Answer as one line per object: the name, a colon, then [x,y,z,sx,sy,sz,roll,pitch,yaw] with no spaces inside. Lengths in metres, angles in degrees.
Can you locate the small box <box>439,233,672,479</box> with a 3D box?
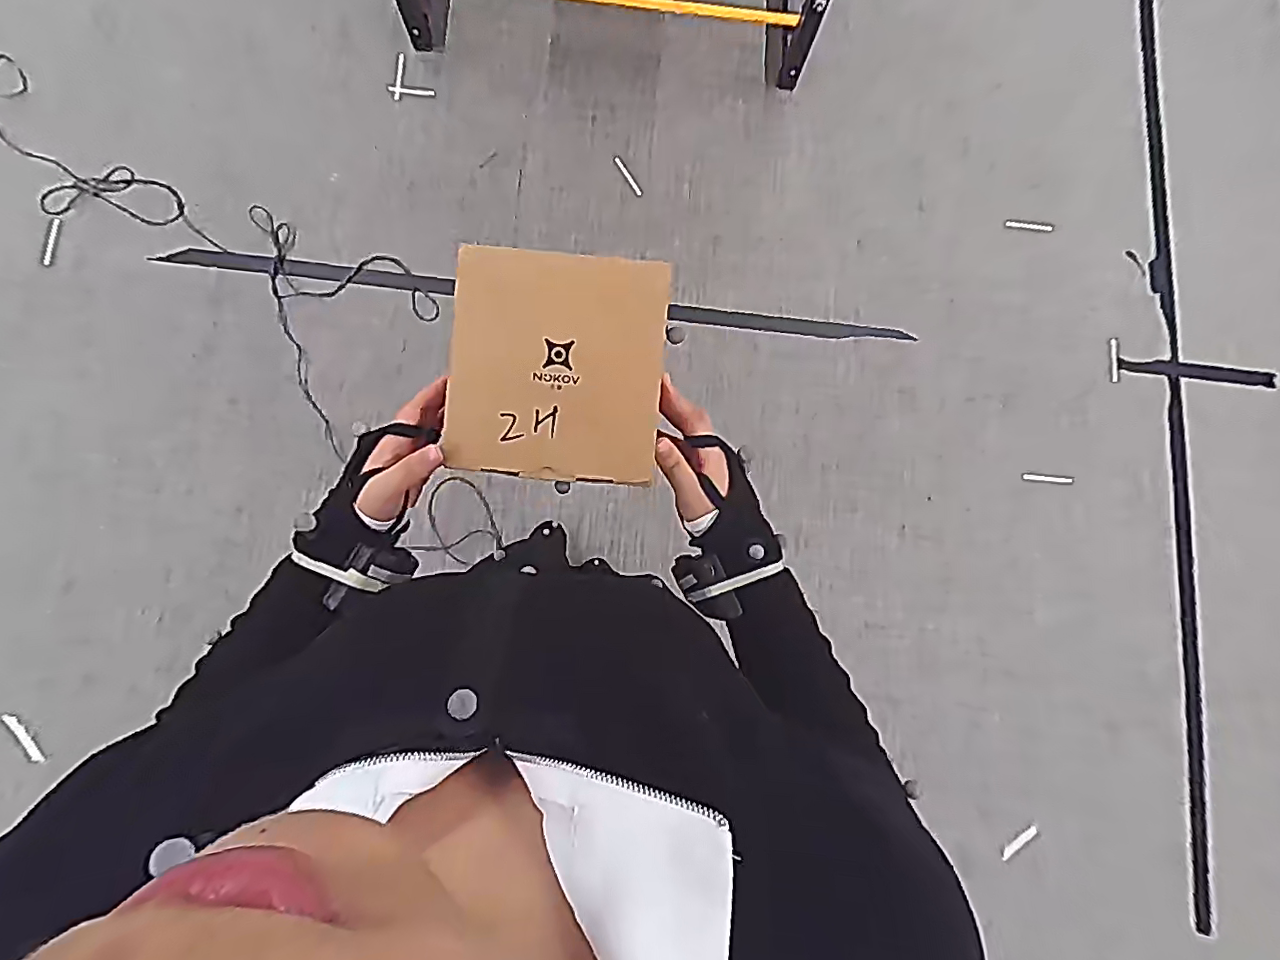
small box: [-0.066,-0.095,0.492,0.168,0.176,0.179,5,90,-1]
